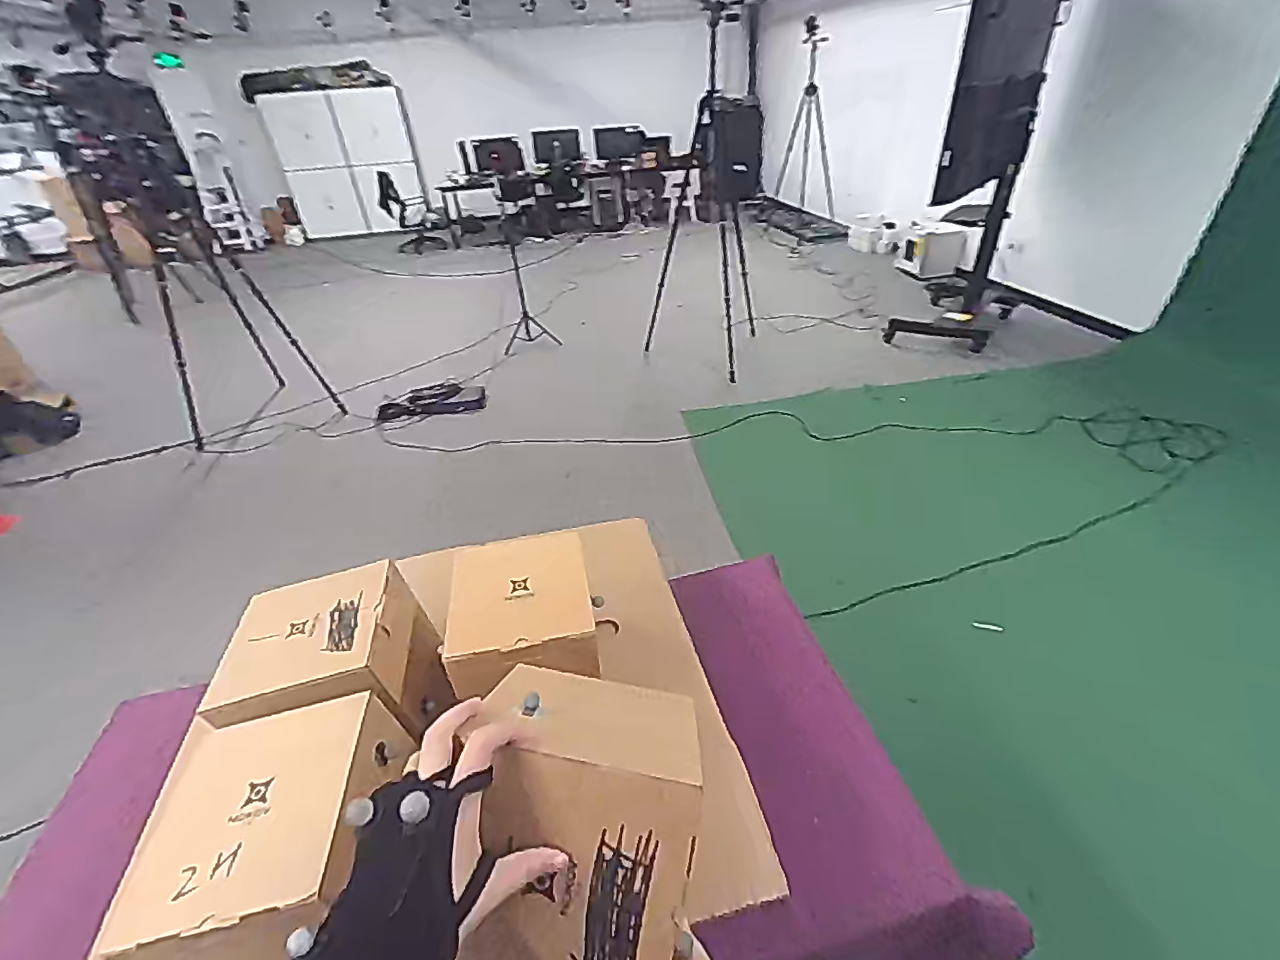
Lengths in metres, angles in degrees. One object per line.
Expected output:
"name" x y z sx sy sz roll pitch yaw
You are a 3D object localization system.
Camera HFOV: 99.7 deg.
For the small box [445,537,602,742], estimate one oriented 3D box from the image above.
"small box" -0.145 0.202 0.703 0.168 0.176 0.179 -8 36 -9
